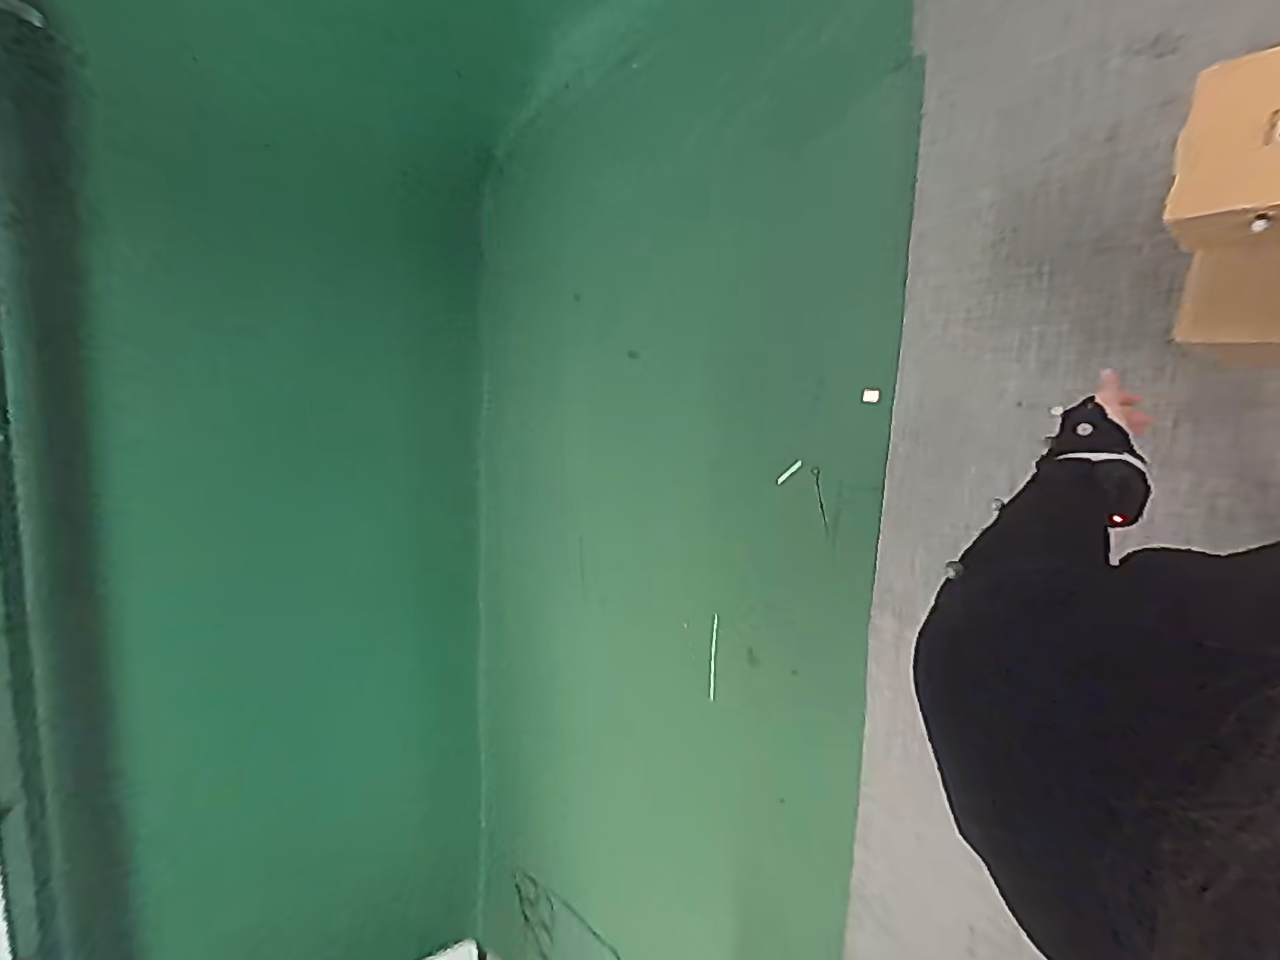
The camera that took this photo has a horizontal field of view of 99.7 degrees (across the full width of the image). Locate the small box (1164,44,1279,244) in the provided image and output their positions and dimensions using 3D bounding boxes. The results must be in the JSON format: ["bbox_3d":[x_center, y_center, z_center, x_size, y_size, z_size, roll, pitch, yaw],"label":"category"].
[{"bbox_3d":[0.756,-0.384,0.620,0.179,0.176,0.168,19,106,51],"label":"small box"}]
